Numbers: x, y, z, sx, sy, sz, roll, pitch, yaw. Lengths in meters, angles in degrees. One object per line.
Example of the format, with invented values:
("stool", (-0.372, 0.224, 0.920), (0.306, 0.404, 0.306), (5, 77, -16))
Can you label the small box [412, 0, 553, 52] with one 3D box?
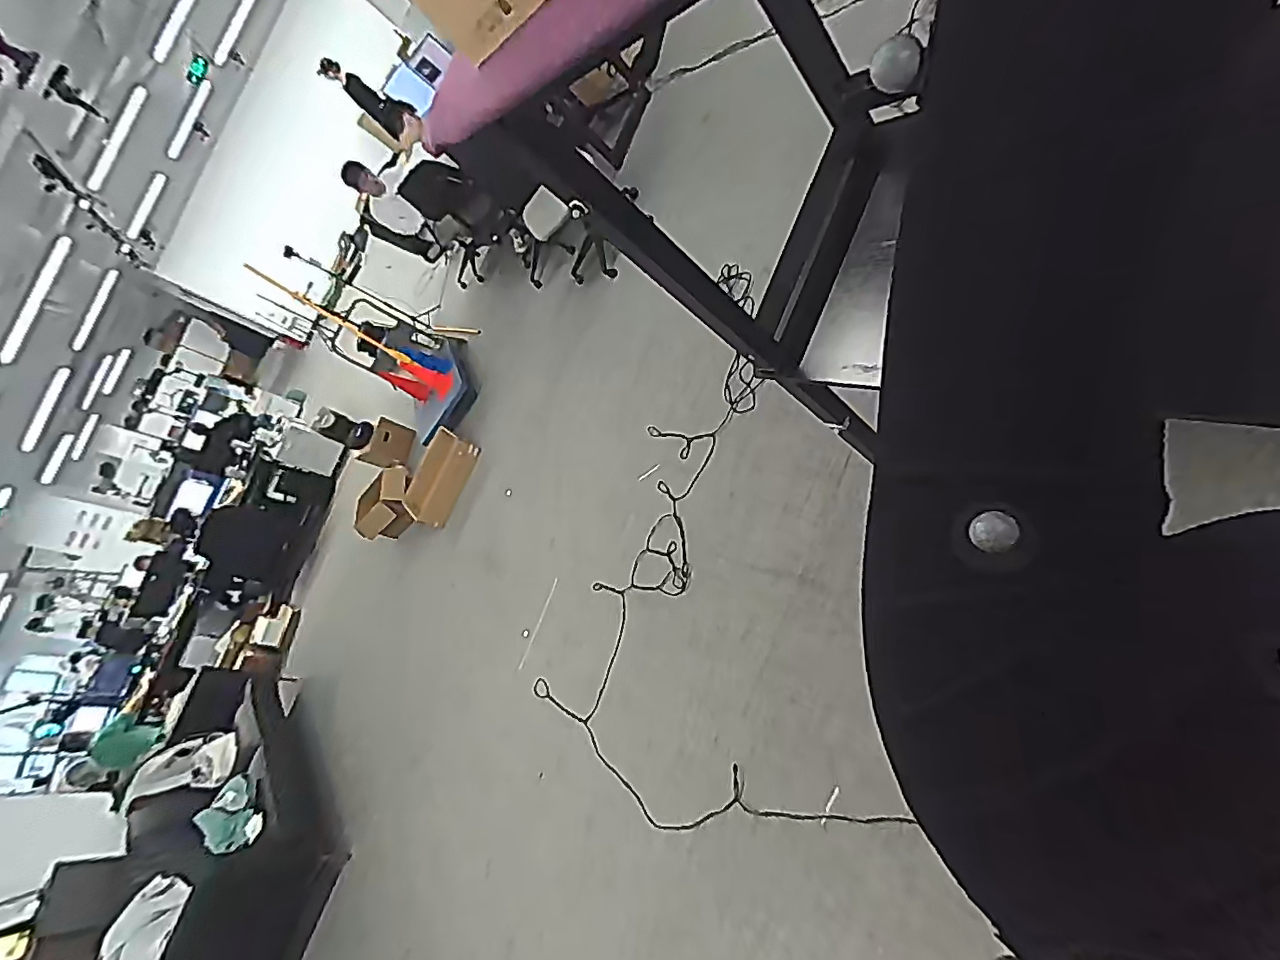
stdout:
("small box", (-0.146, -0.535, 0.481), (0.168, 0.176, 0.179), (16, 83, 48))
